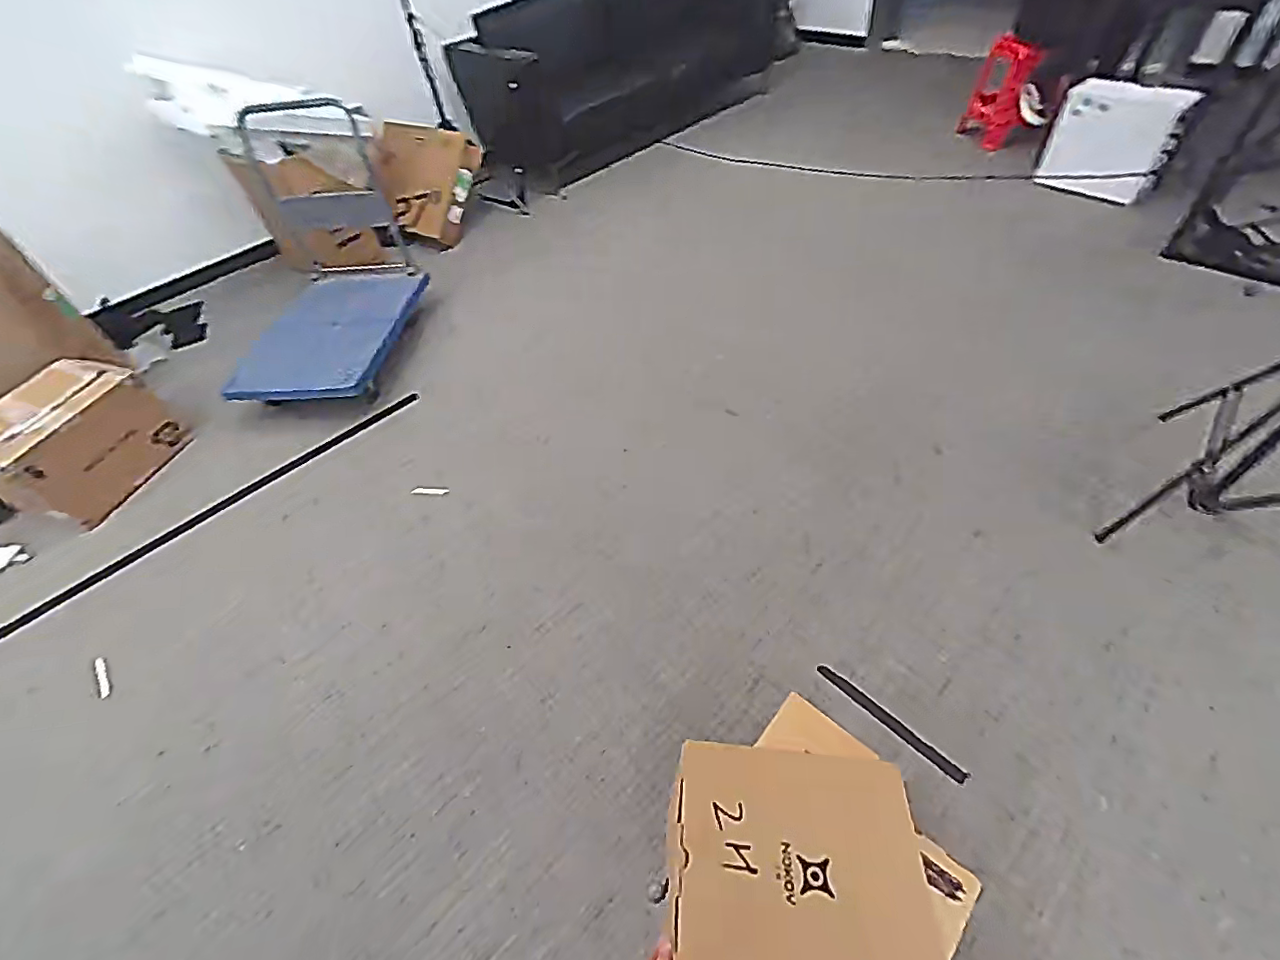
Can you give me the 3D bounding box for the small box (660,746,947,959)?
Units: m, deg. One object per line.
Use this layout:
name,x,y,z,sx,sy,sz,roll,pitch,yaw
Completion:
small box,0.110,0.336,0.425,0.179,0.176,0.168,4,41,3

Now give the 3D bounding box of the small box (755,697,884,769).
small box,0.306,0.540,0.983,0.179,0.176,0.168,32,60,30
